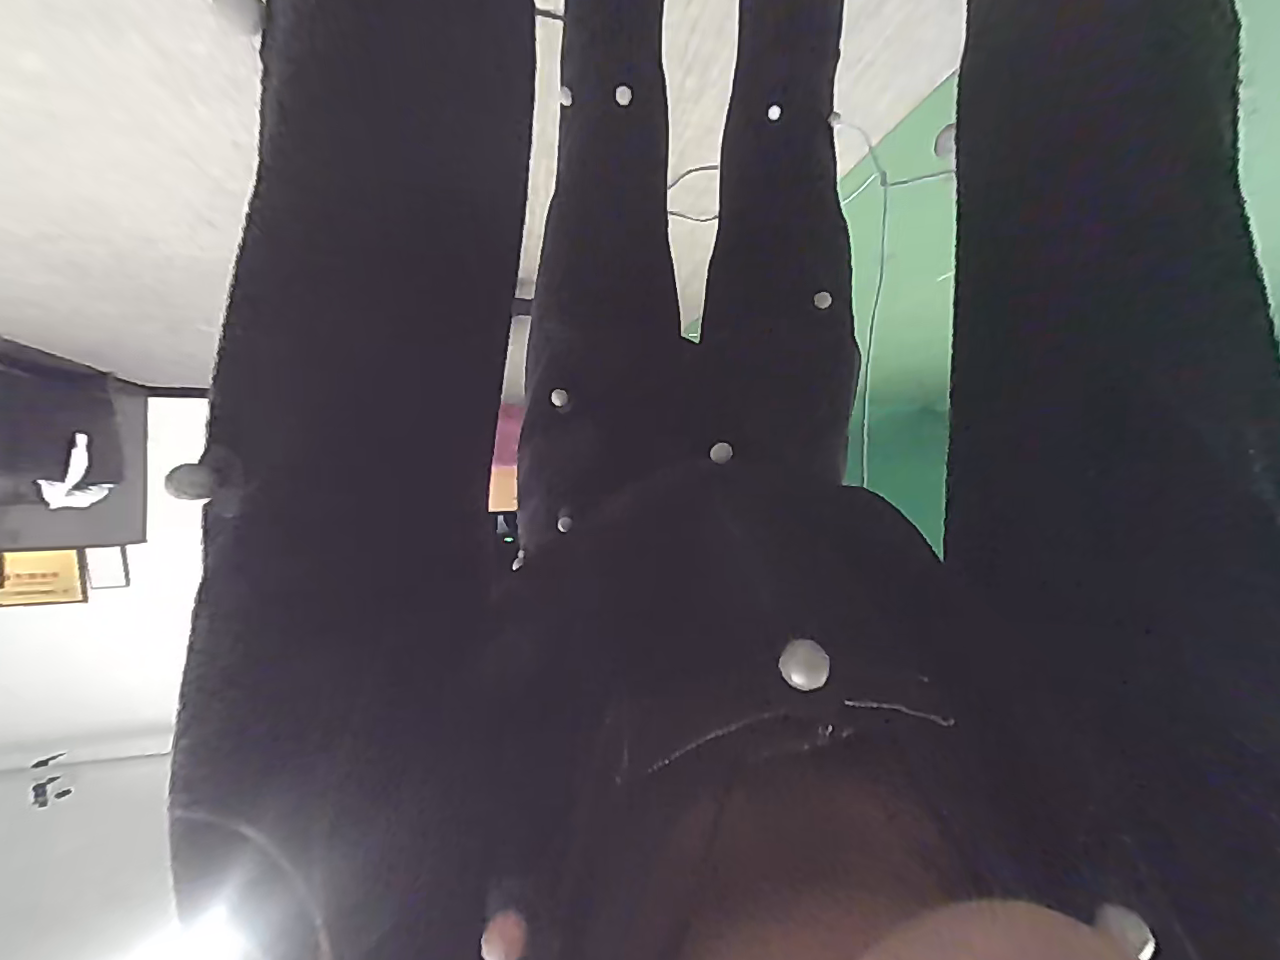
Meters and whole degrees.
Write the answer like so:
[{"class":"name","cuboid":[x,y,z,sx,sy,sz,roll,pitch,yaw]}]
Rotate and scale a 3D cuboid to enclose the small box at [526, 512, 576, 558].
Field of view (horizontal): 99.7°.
[{"class":"small box","cuboid":[-0.360,0.218,2.164,0.168,0.176,0.179,1,177,-24]}]
